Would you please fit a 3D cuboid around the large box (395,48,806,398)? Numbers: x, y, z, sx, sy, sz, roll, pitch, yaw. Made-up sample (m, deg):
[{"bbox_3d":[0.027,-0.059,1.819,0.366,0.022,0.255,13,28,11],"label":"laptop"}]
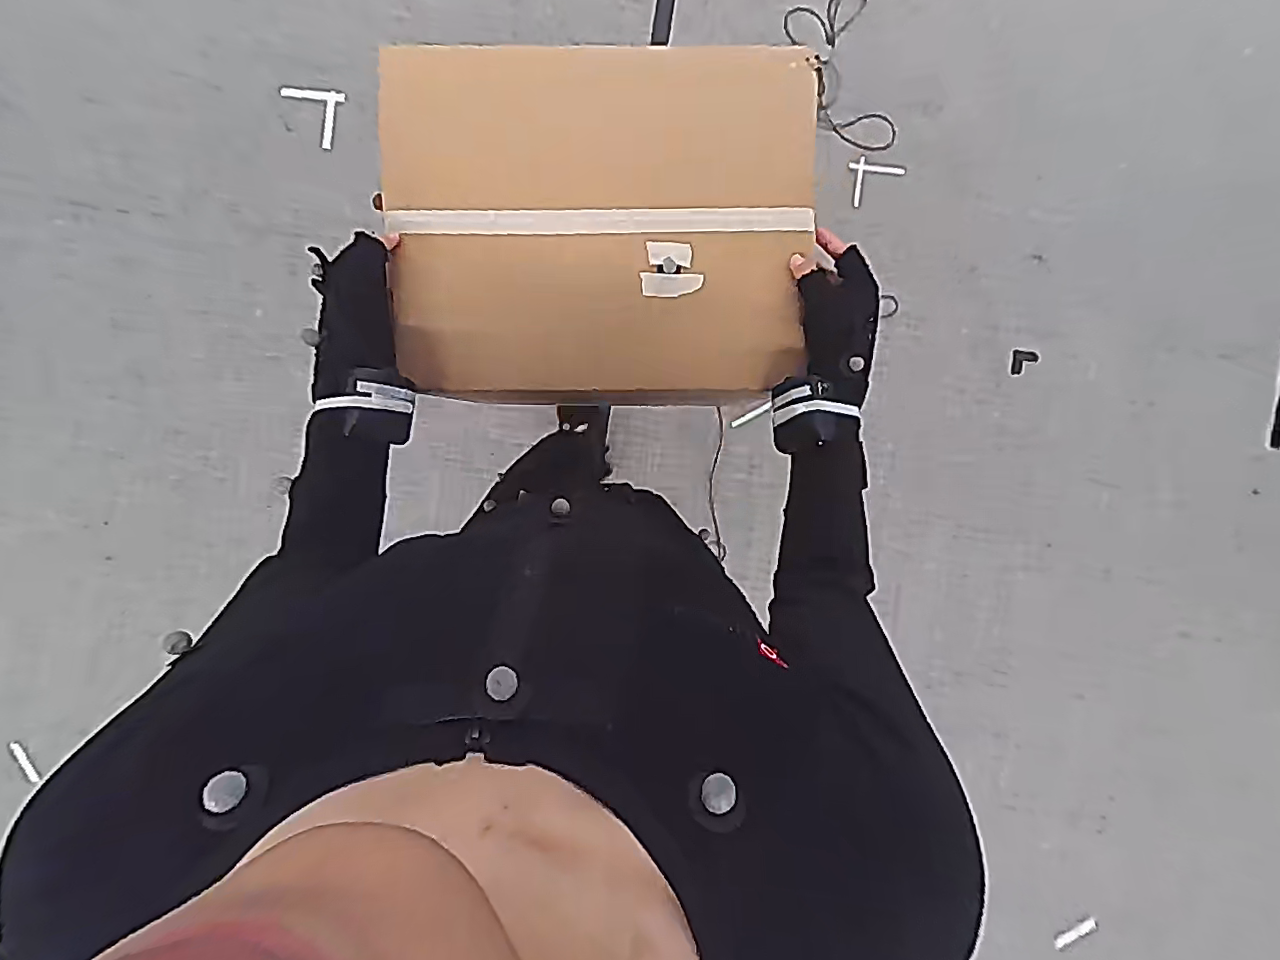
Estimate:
[{"bbox_3d":[-0.038,-0.273,0.680,0.408,0.320,0.320,-1,96,-1],"label":"large box"}]
